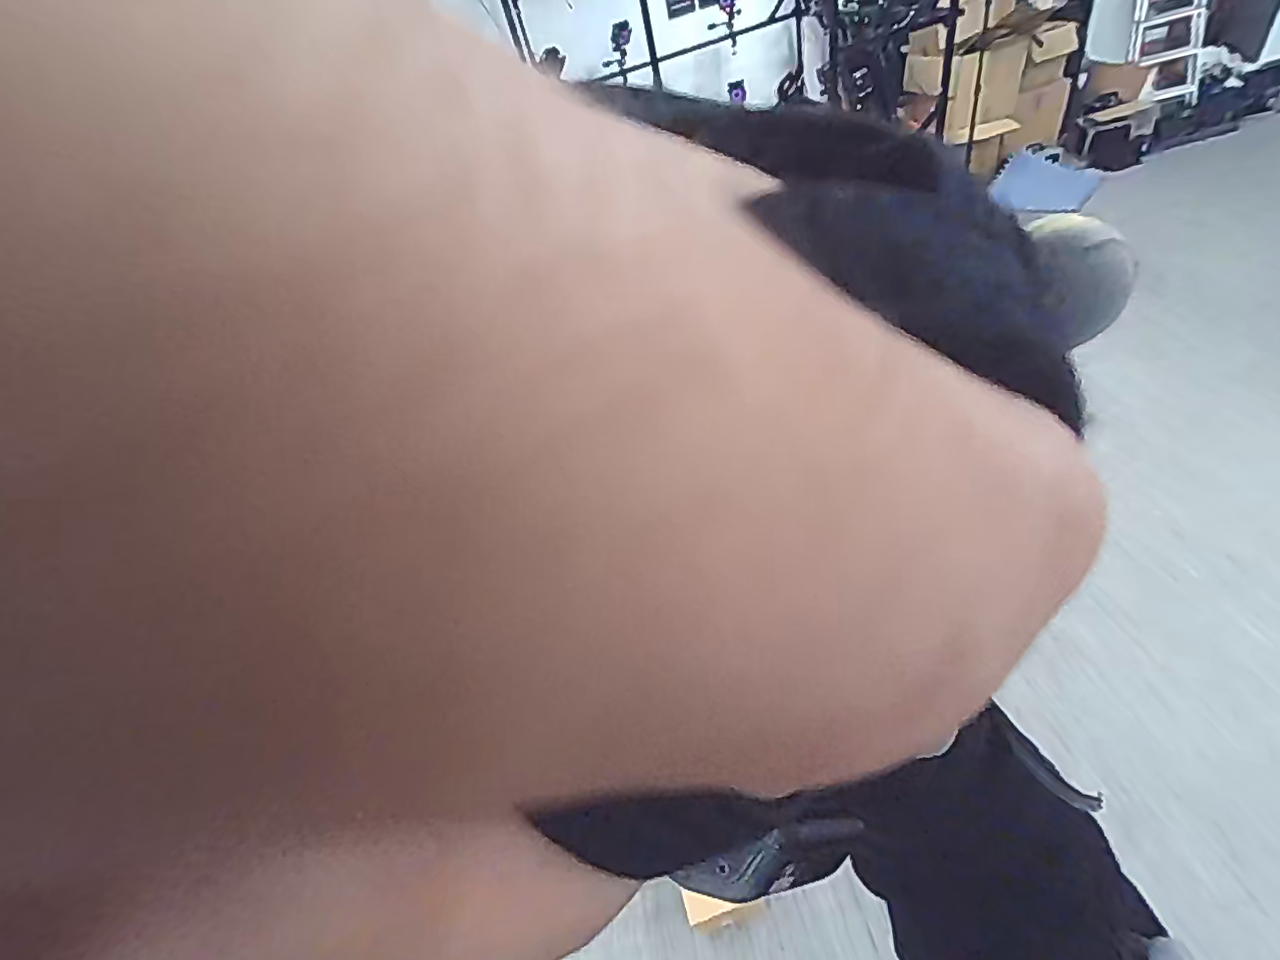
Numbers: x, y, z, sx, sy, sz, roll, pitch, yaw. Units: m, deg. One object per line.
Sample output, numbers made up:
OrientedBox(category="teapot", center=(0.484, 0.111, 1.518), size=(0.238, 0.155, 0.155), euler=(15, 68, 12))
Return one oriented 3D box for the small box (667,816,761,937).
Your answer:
OrientedBox(category="small box", center=(0.177, 0.952, 1.298), size=(0.168, 0.176, 0.179), euler=(-20, 41, -1))
